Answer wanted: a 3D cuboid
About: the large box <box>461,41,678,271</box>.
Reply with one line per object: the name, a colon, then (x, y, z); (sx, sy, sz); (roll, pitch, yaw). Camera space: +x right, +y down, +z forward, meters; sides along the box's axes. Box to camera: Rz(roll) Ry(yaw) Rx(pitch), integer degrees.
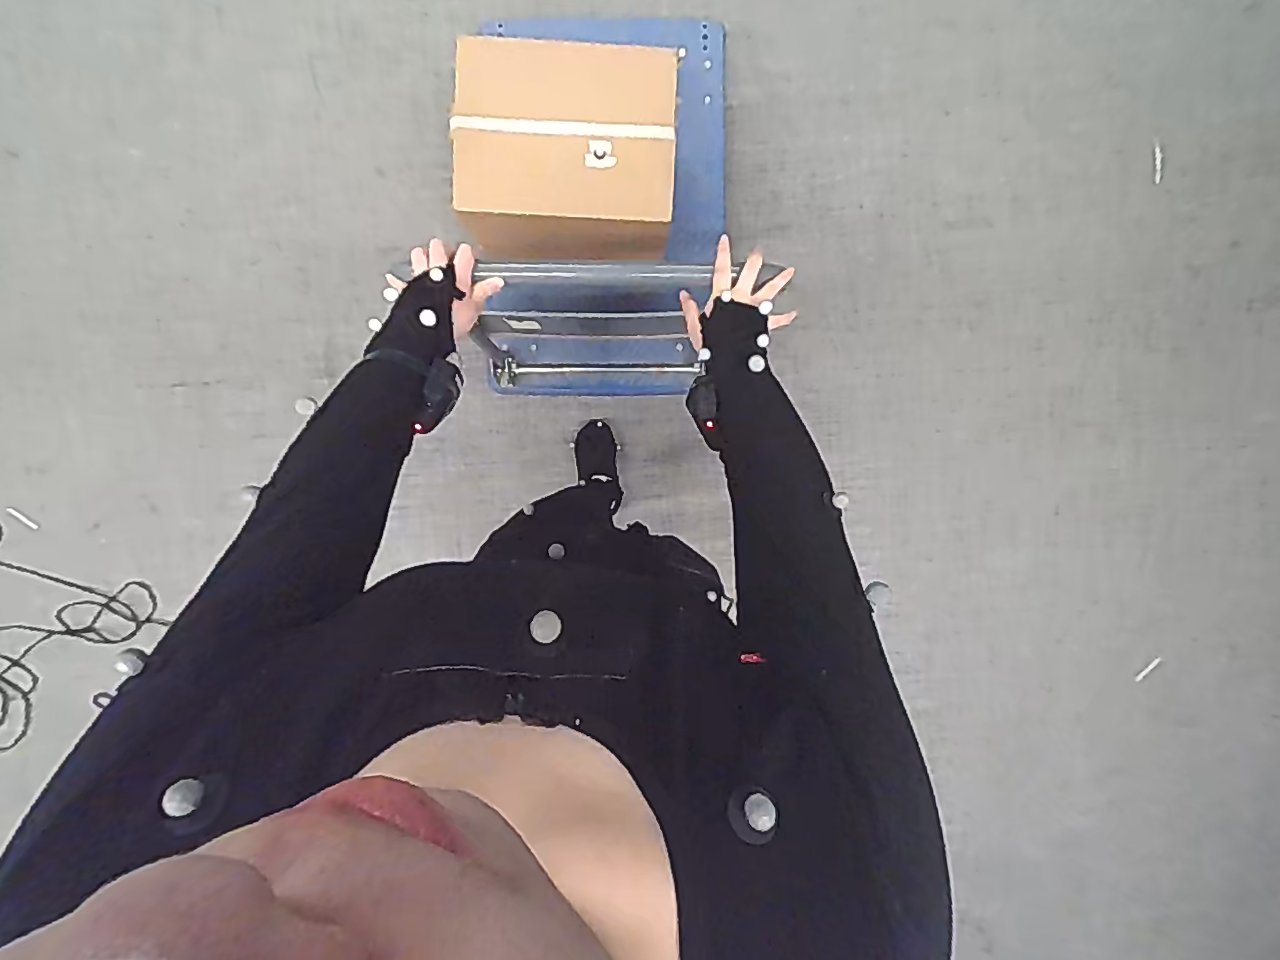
large box: (-0.139, -0.657, 1.155); (0.408, 0.320, 0.320); (2, 93, -3)
